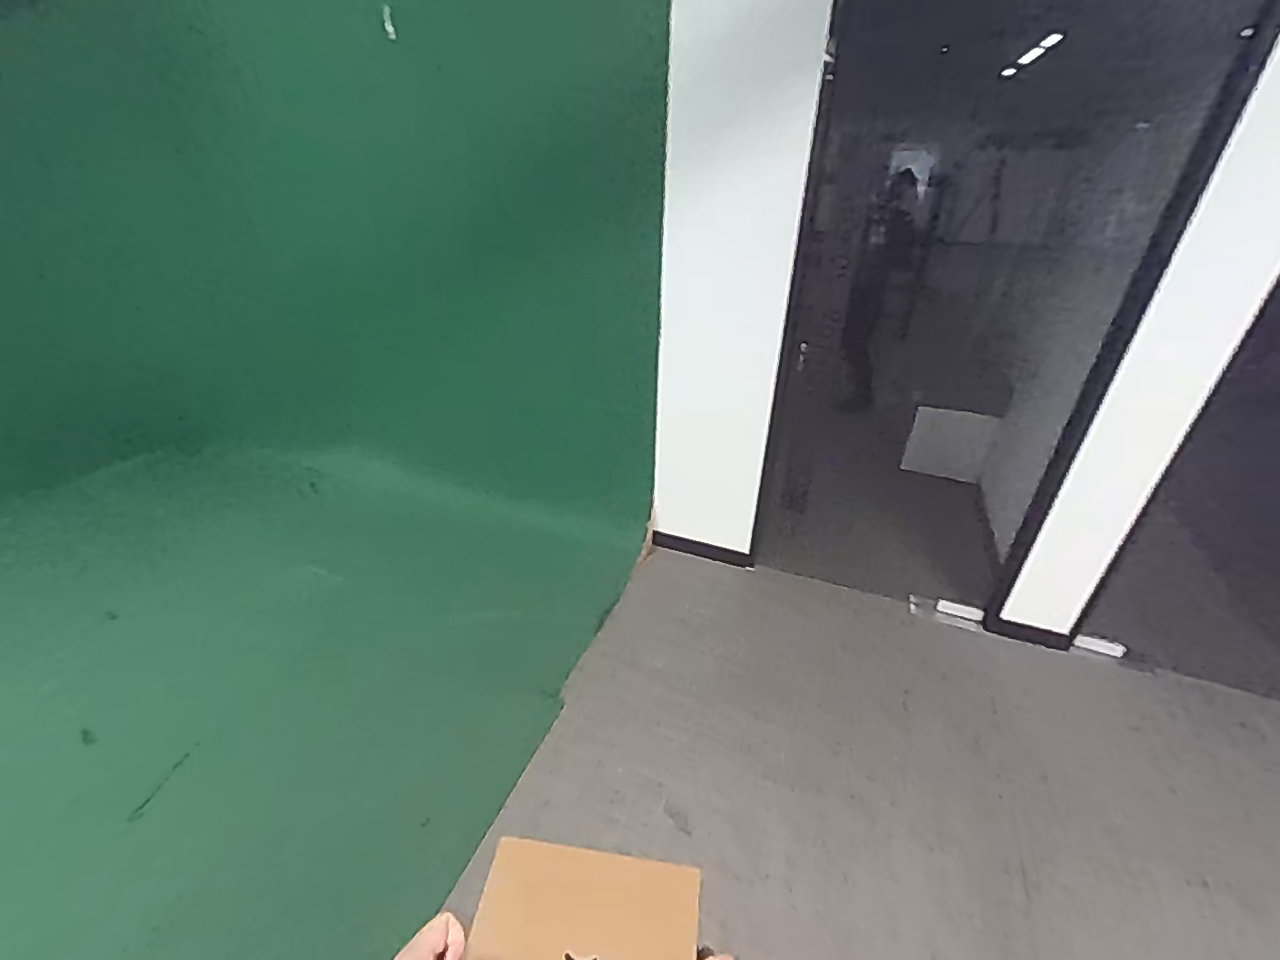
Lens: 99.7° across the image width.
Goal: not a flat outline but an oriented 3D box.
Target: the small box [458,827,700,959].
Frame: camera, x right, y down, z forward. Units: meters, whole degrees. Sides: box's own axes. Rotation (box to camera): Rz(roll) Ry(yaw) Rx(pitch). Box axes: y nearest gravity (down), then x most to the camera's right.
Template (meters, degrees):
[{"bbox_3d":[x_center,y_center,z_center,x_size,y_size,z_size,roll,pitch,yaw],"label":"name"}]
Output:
[{"bbox_3d":[-0.047,0.404,0.407,0.168,0.176,0.179,5,35,6],"label":"small box"}]
